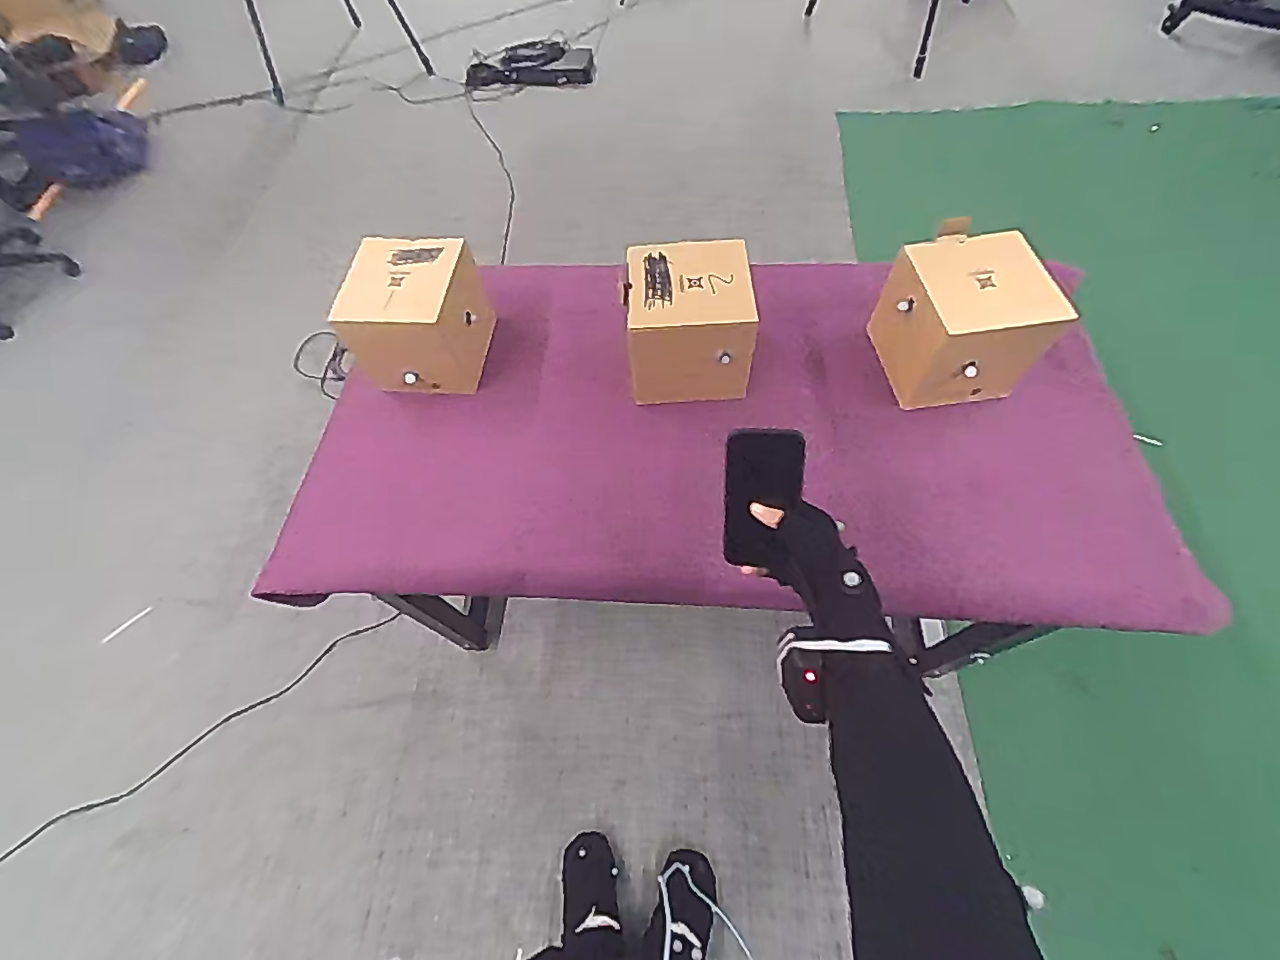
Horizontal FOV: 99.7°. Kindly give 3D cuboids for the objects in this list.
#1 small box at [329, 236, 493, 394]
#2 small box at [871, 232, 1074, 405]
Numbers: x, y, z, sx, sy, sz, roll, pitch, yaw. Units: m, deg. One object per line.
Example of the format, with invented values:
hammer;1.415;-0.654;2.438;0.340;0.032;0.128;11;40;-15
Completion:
small box;-0.347;-0.260;0.862;0.168;0.176;0.179;3;63;6
small box;0.463;-0.224;0.788;0.168;0.176;0.179;-8;60;1
